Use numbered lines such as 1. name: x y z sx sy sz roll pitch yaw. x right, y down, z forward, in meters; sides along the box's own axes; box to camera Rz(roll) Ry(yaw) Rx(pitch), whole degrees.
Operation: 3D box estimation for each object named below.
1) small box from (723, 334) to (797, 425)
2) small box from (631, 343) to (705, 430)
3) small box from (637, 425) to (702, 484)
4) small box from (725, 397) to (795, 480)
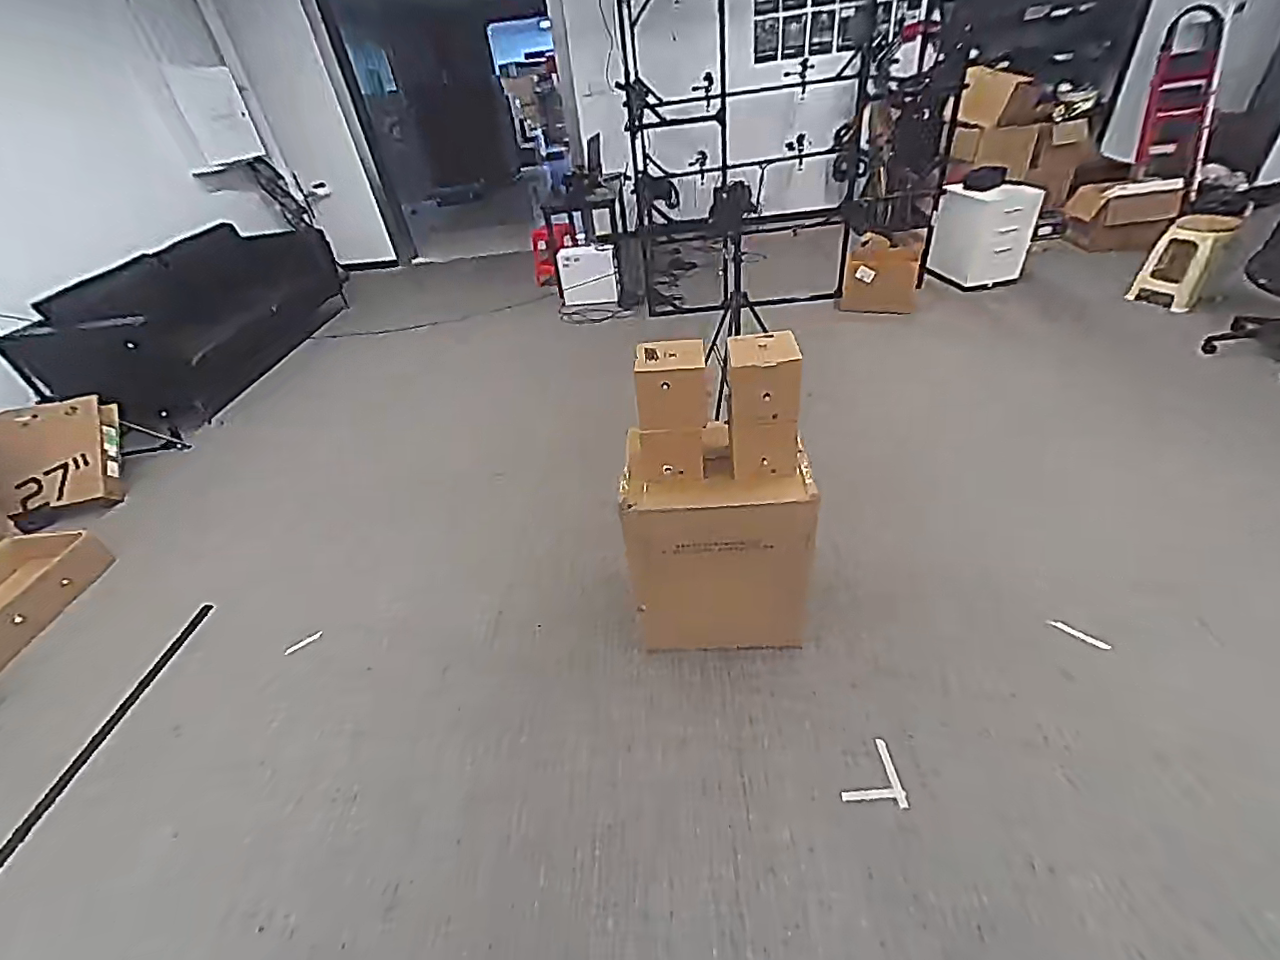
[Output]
1. small box: 0.304 -0.250 1.379 0.168 0.176 0.179 -5 38 7
2. small box: 0.076 -0.242 1.414 0.179 0.176 0.168 -3 38 5
3. small box: 0.085 -0.108 1.510 0.168 0.176 0.179 -4 38 5
4. small box: 0.321 -0.118 1.475 0.168 0.176 0.179 -5 38 7
